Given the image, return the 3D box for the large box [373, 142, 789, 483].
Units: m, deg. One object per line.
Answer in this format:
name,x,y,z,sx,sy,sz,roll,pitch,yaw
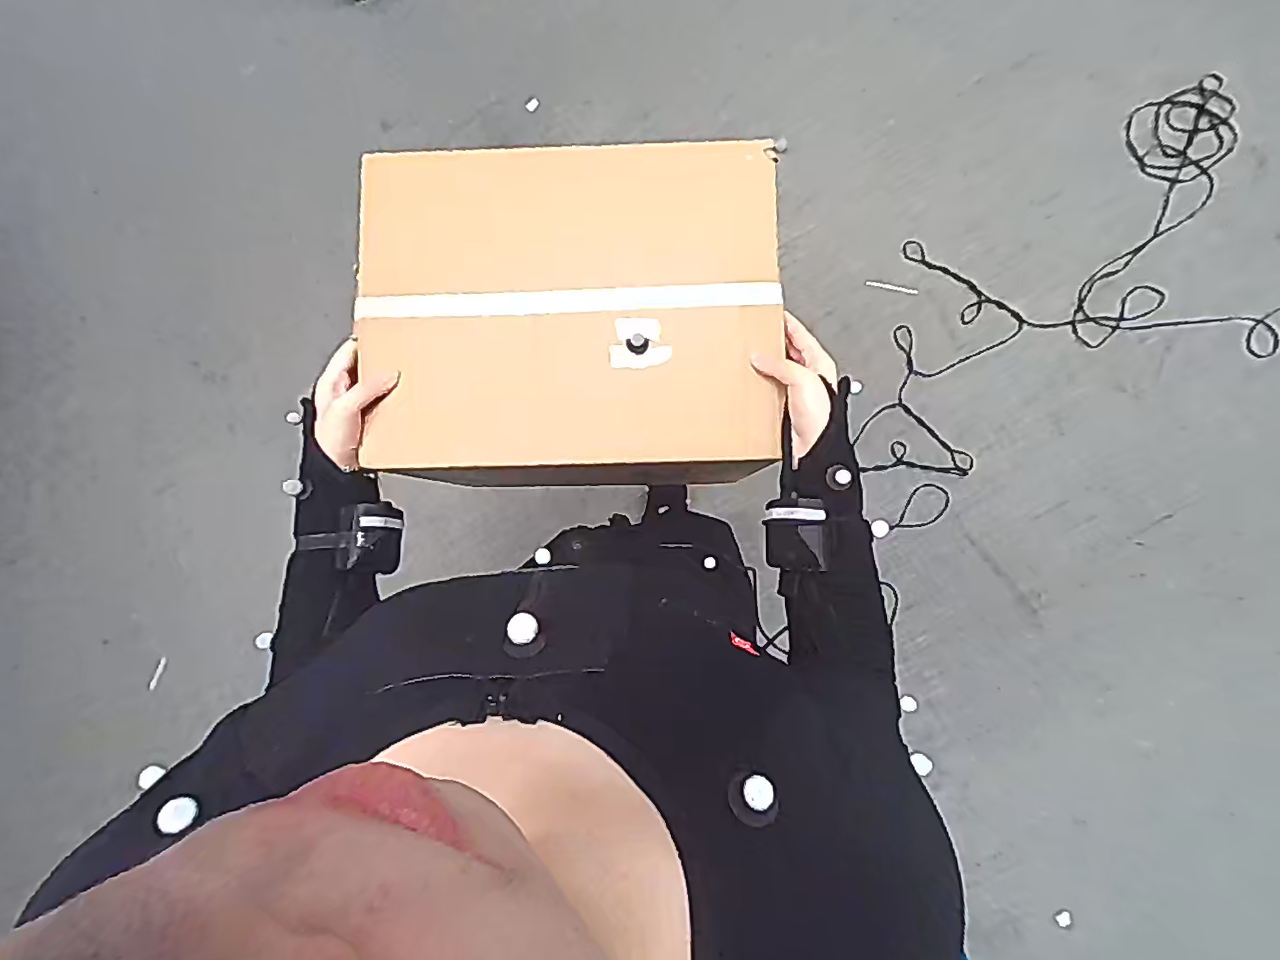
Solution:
large box,-0.061,-0.166,0.674,0.408,0.320,0.320,-1,86,0
